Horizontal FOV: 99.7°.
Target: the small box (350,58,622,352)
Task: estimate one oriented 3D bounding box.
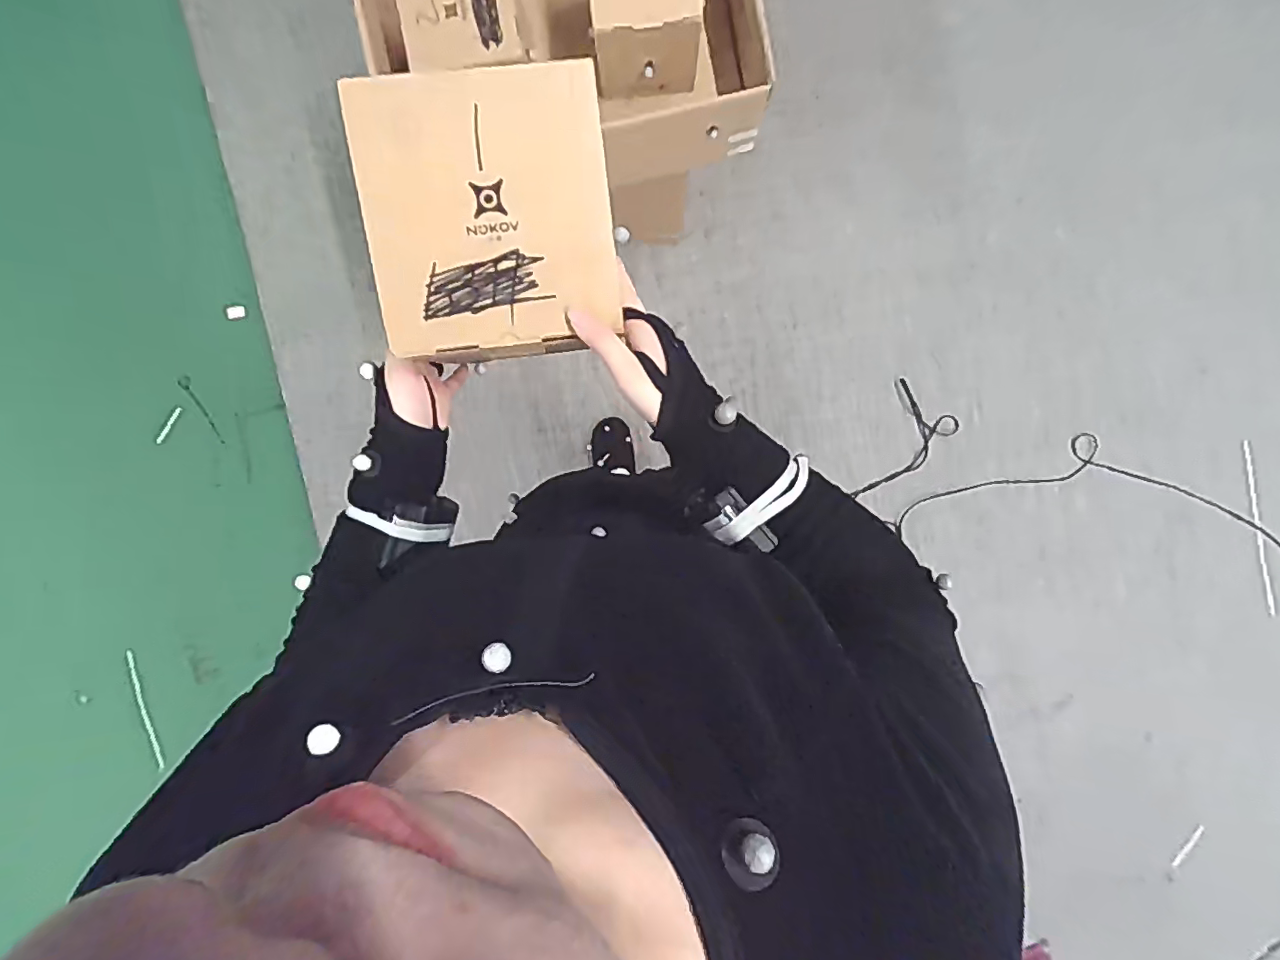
[{"bbox_3d":[-0.105,-0.200,0.445,0.168,0.176,0.179,-6,101,-4],"label":"small box"}]
